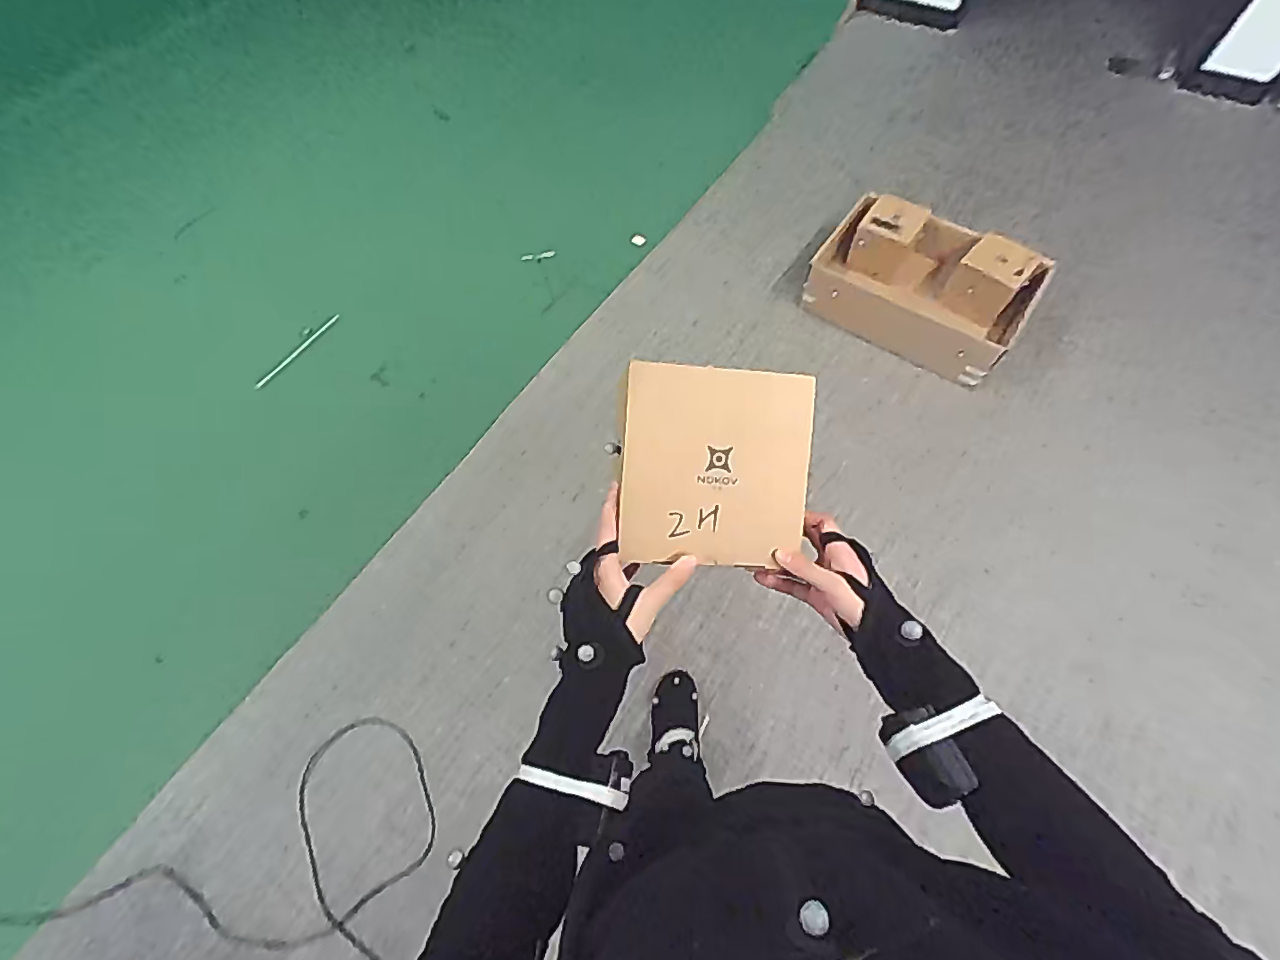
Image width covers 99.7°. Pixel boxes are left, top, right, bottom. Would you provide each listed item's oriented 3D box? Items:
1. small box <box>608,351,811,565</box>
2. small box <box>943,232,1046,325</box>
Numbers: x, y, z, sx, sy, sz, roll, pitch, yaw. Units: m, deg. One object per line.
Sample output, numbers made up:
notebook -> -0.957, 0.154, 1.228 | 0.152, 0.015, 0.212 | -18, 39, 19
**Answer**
small box -> 0.056, -0.022, 0.548 | 0.168, 0.176, 0.179 | 4, 94, -4
small box -> 1.071, -0.610, 1.651 | 0.168, 0.176, 0.179 | -43, 68, -14
